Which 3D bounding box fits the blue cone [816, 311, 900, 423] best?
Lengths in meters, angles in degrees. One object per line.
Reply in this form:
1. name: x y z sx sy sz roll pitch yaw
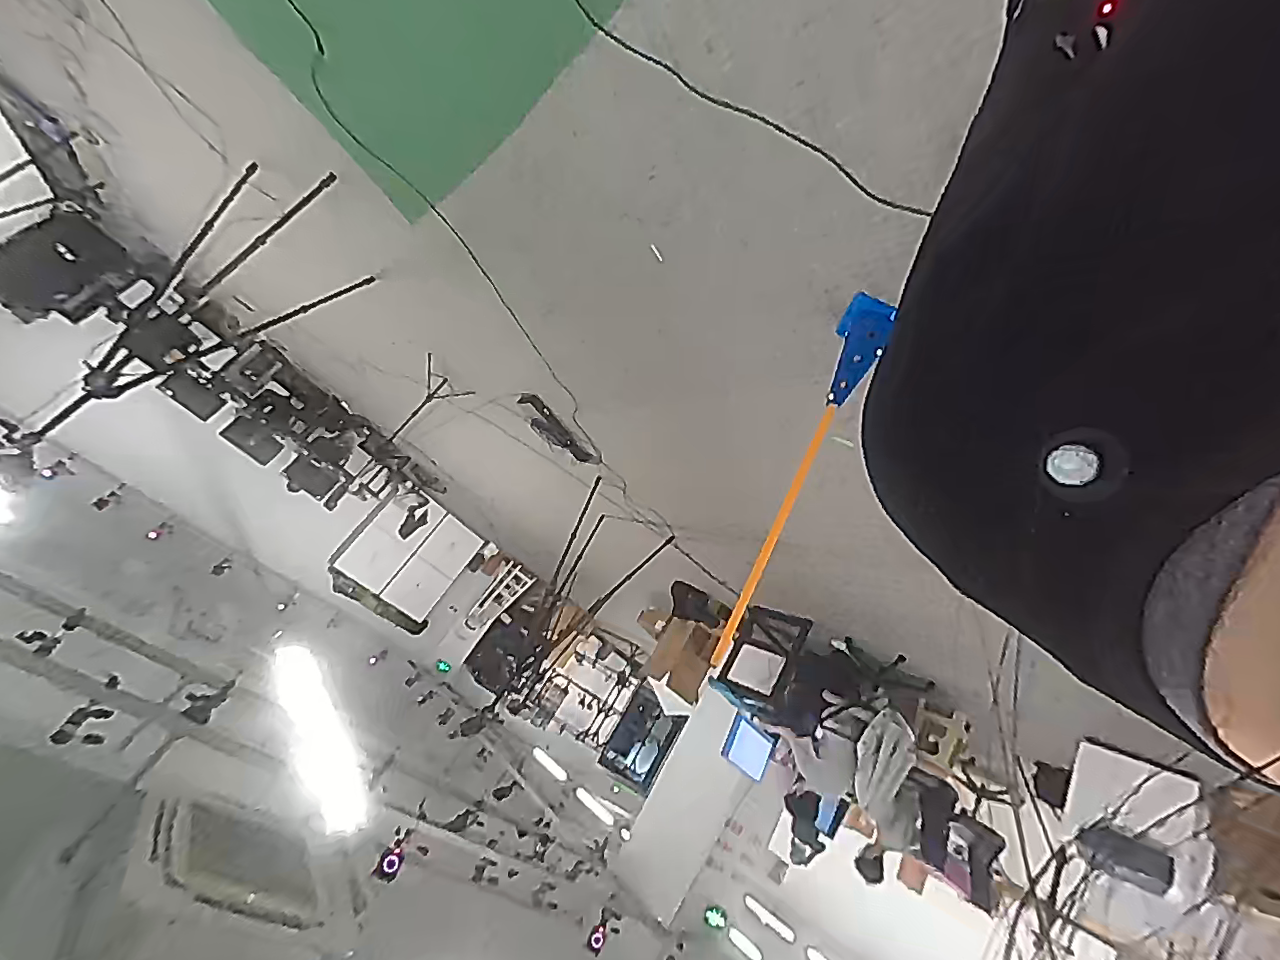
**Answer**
1. blue cone: 0.655 -0.328 1.713 0.192 0.380 0.193 28 159 11
